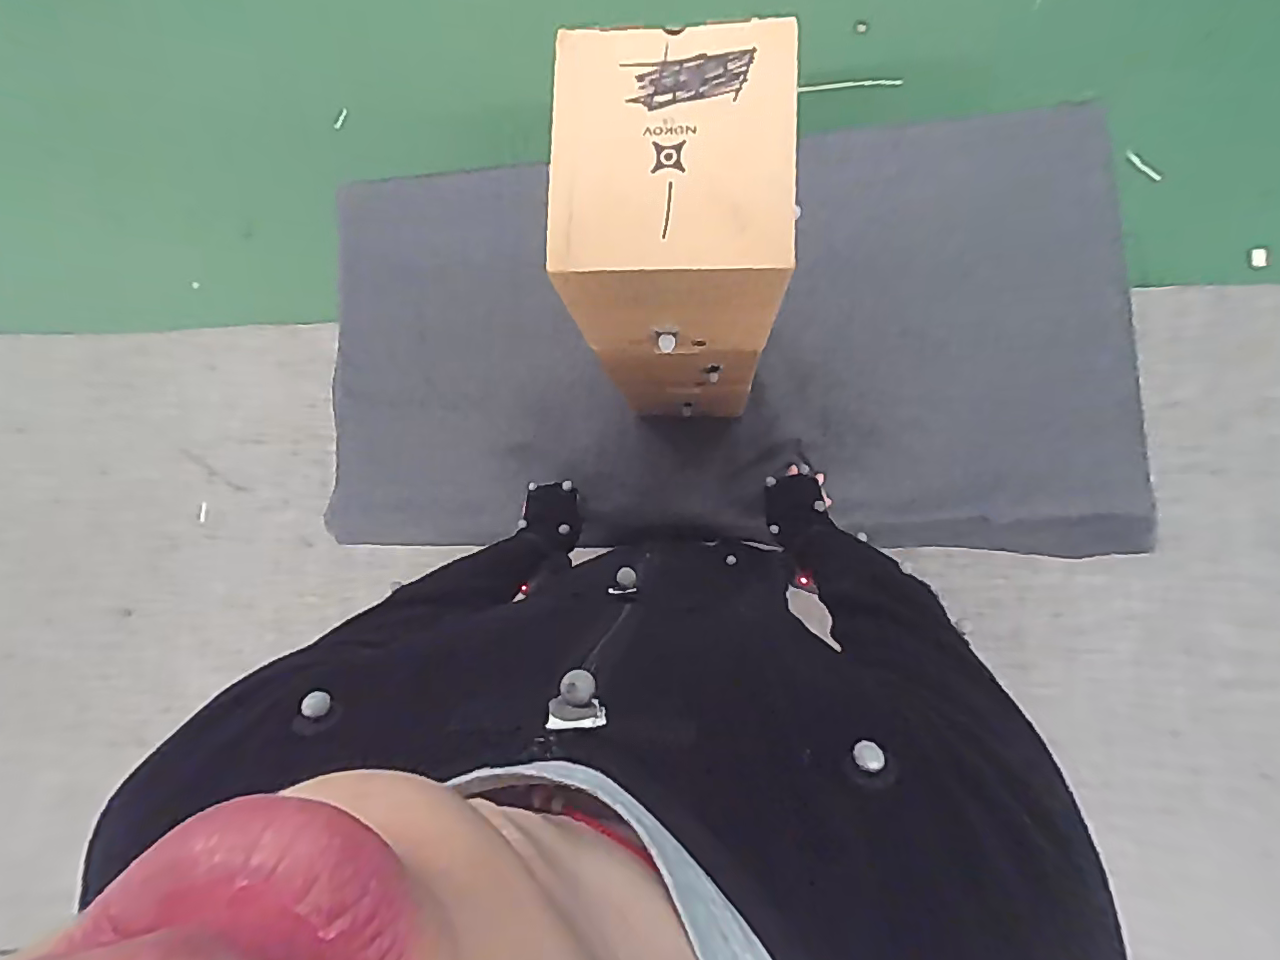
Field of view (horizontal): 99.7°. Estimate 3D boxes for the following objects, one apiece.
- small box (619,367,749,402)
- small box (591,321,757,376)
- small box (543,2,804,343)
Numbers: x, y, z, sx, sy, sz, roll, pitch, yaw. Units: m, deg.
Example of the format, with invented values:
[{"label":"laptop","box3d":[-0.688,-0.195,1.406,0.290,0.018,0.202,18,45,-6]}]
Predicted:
[{"label":"small box","box3d":[0.068,-0.207,0.757,0.168,0.176,0.179,1,87,7]},{"label":"small box","box3d":[0.045,-0.217,0.596,0.168,0.176,0.179,0,85,6]},{"label":"small box","box3d":[0.029,-0.222,0.433,0.168,0.176,0.179,2,88,7]}]
